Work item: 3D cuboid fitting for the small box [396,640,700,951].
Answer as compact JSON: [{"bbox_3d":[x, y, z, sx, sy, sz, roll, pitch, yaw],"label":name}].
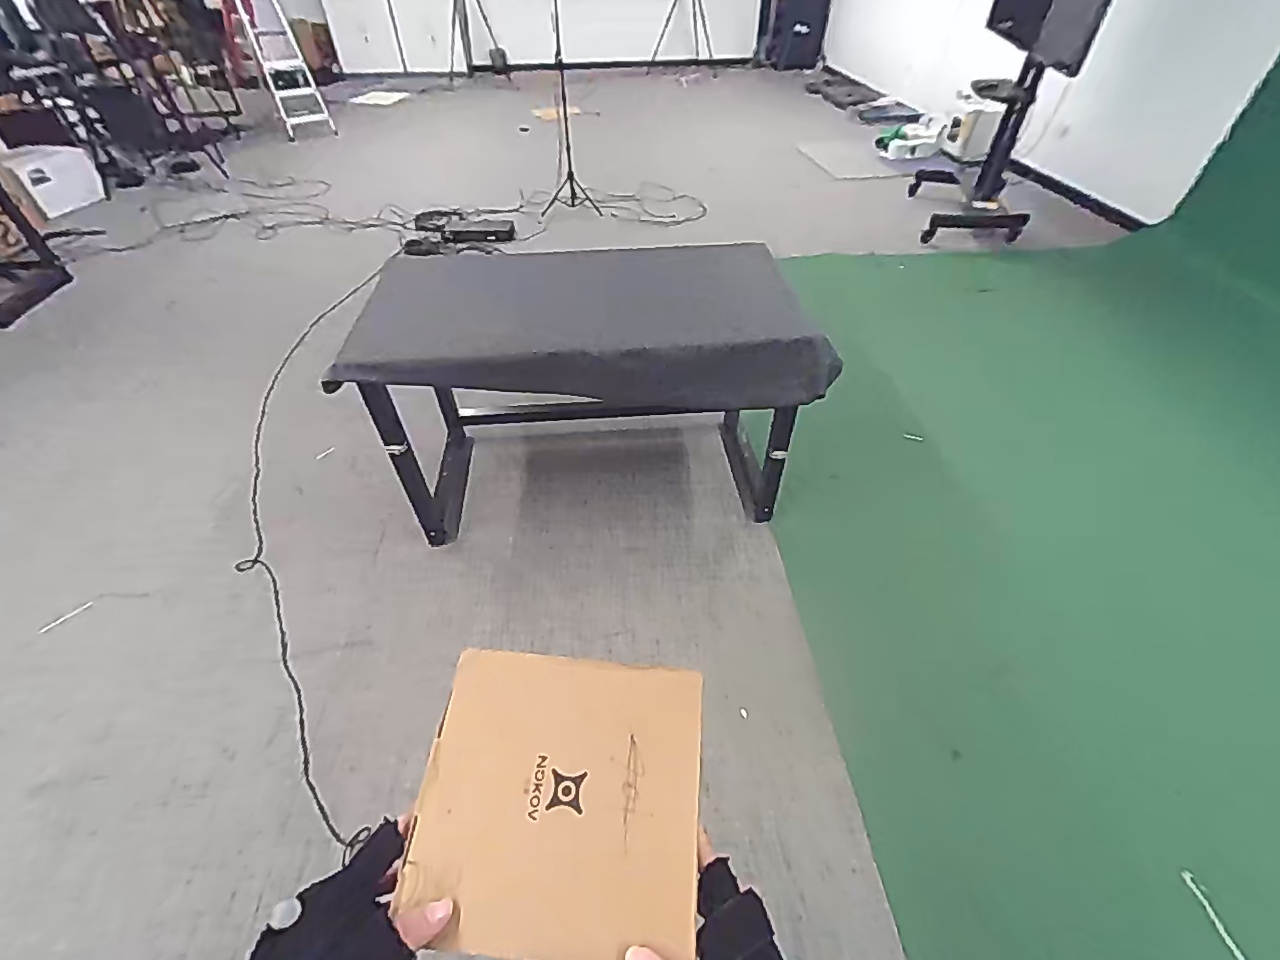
[{"bbox_3d":[-0.049,0.233,0.414,0.179,0.176,0.168,3,58,1],"label":"small box"}]
